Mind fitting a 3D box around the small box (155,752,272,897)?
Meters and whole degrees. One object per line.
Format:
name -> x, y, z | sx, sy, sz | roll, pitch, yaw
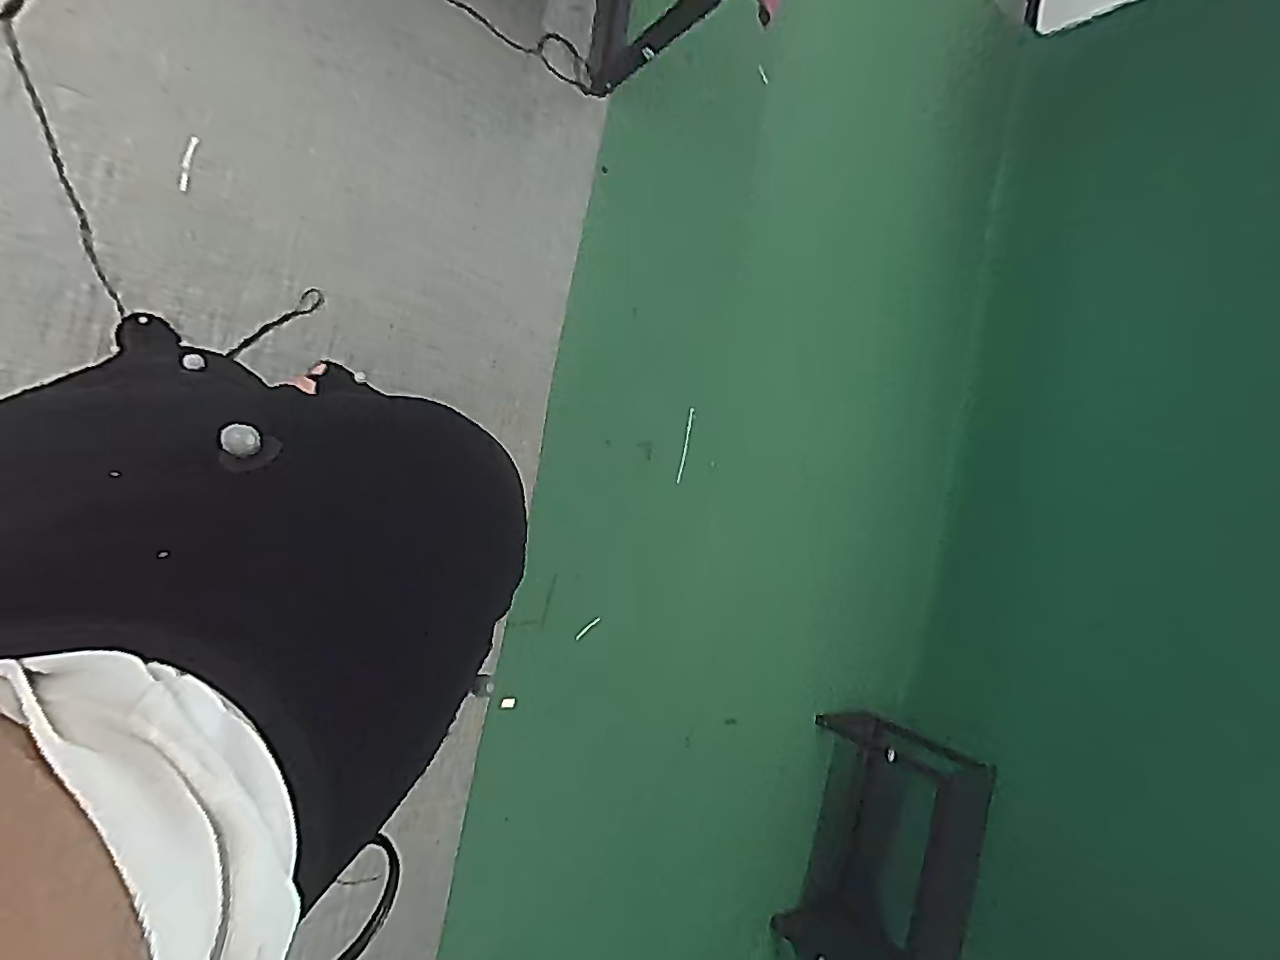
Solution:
small box -> -0.894, 0.711, 1.139 | 0.168, 0.176, 0.179 | 10, 91, -40
